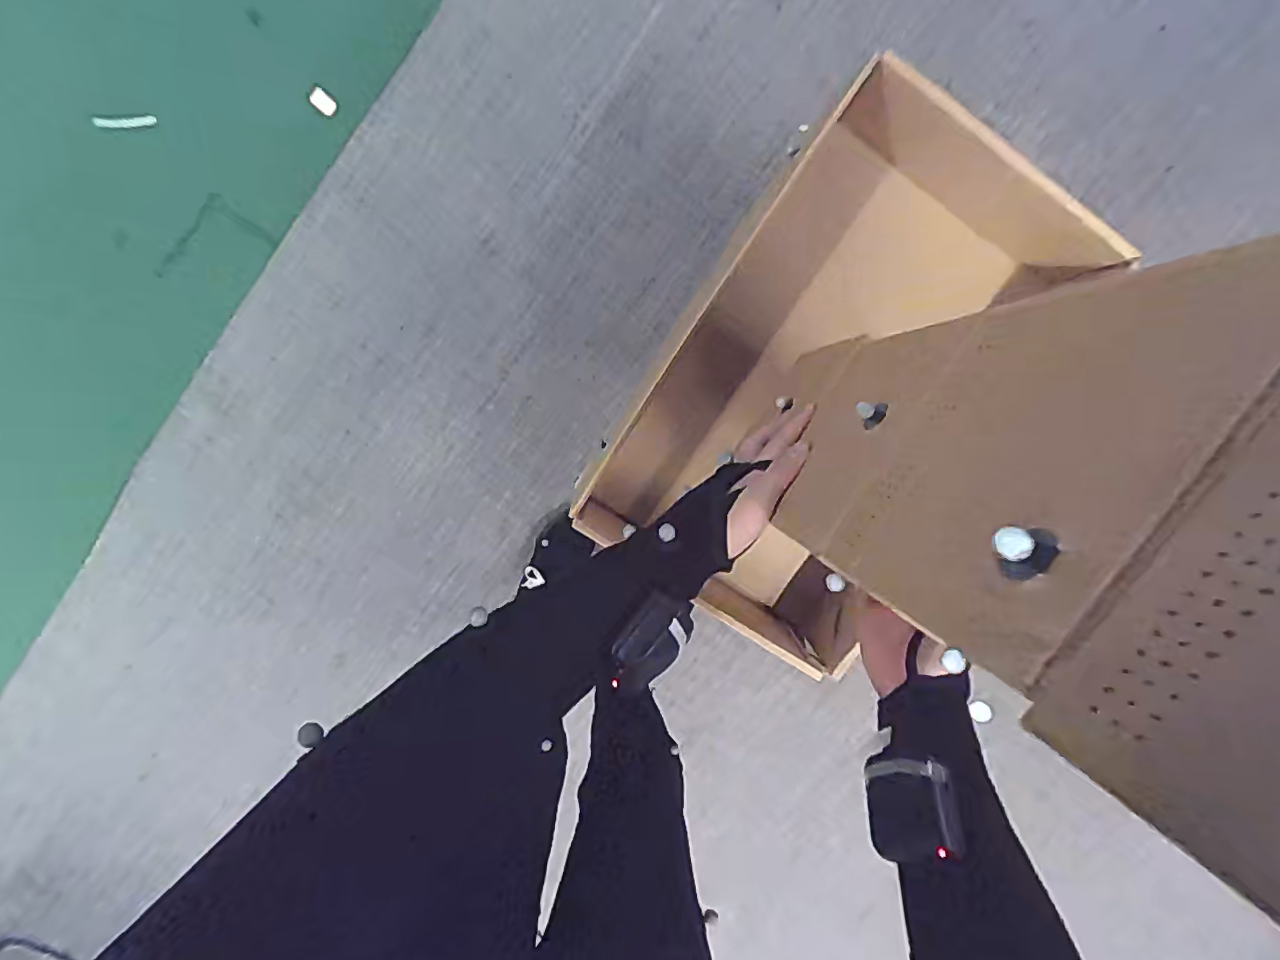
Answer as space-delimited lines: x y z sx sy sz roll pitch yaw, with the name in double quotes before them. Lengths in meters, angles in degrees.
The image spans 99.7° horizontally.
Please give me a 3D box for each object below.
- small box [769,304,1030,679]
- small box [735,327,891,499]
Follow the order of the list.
"small box" 0.222 0.001 0.404 0.168 0.176 0.179 34 95 -7
"small box" 0.217 -0.030 0.567 0.168 0.176 0.179 34 94 -7
